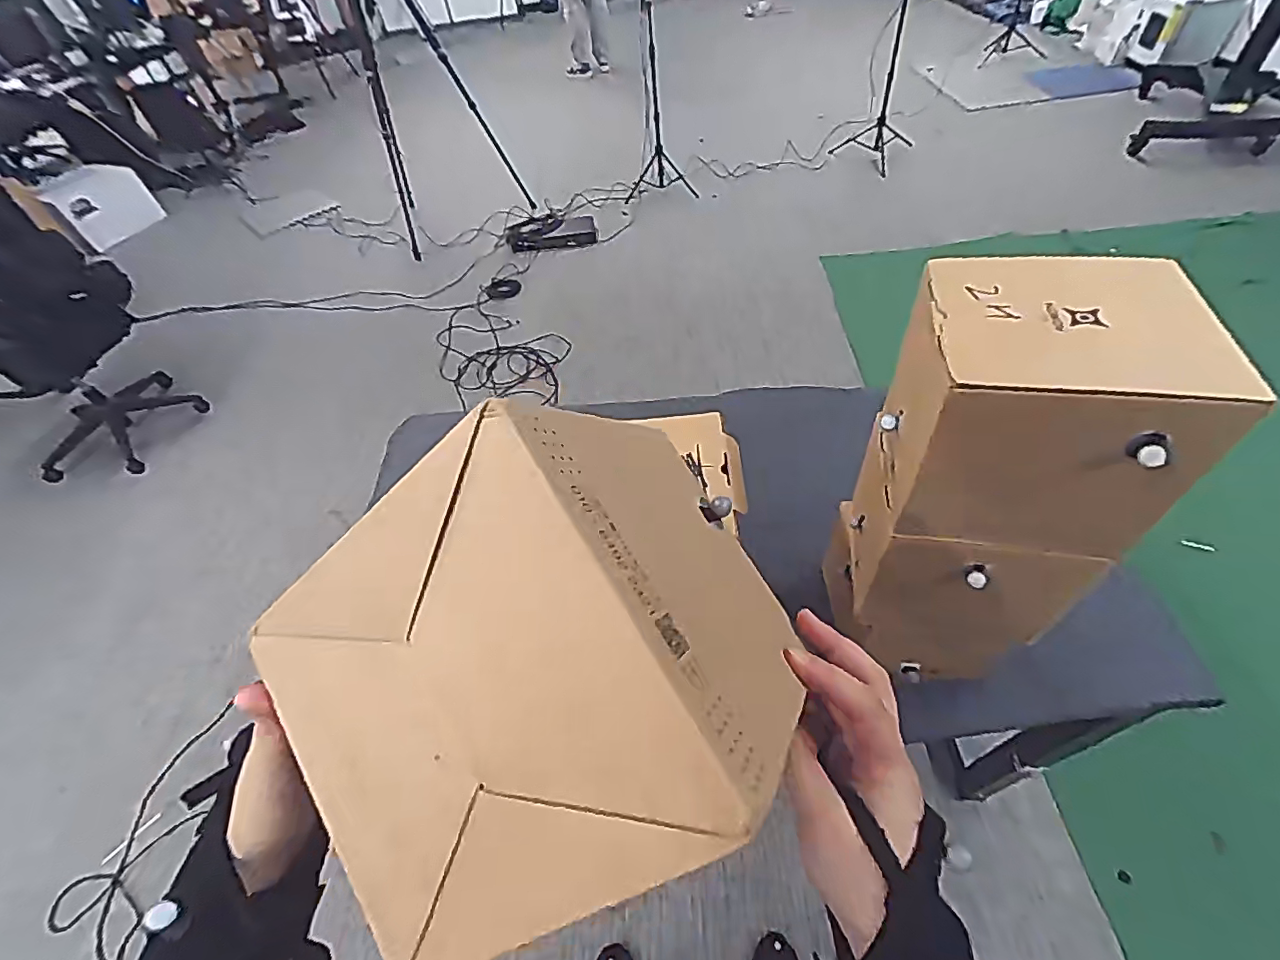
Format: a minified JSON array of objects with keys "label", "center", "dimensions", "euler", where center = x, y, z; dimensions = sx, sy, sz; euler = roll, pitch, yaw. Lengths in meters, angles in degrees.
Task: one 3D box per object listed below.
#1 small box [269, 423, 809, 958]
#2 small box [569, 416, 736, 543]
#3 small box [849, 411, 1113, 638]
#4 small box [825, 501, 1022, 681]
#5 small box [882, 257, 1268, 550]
[{"label":"small box","center":[-0.043,0.084,0.276],"dimensions":[0.179,0.176,0.168],"euler":[-37,77,20]},{"label":"small box","center":[0.009,0.049,0.606],"dimensions":[0.179,0.176,0.168],"euler":[-4,49,5]},{"label":"small box","center":[0.326,0.048,0.564],"dimensions":[0.179,0.176,0.168],"euler":[4,51,13]},{"label":"small box","center":[0.345,0.142,0.696],"dimensions":[0.168,0.176,0.179],"euler":[-4,50,6]},{"label":"small box","center":[0.310,-0.060,0.441],"dimensions":[0.179,0.176,0.168],"euler":[6,50,14]}]
